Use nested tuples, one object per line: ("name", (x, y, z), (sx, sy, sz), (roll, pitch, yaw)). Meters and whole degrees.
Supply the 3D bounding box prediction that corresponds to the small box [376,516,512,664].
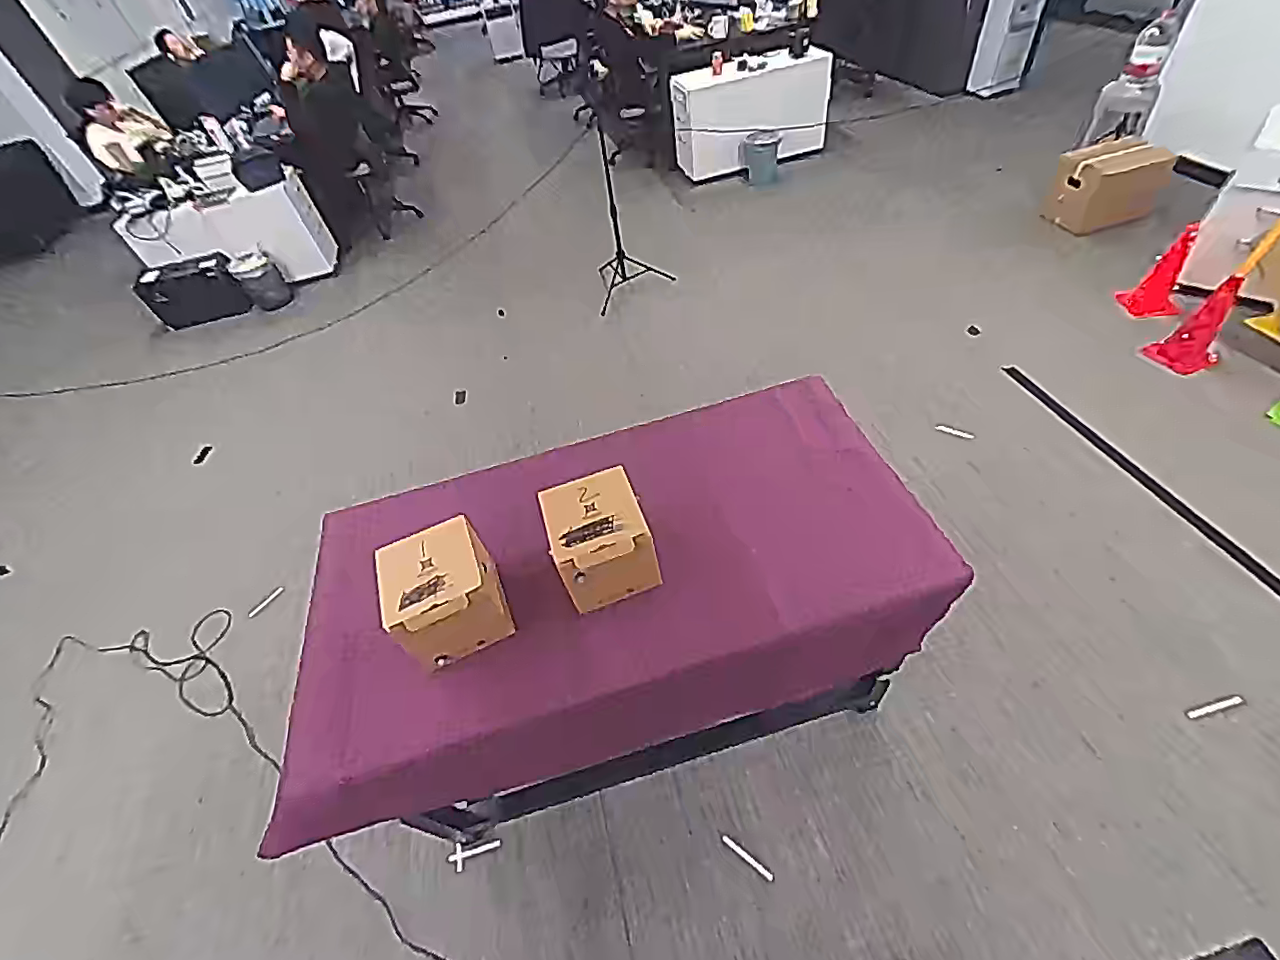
("small box", (-0.344, 0.203, 0.965), (0.168, 0.176, 0.179), (-23, 49, -10))
